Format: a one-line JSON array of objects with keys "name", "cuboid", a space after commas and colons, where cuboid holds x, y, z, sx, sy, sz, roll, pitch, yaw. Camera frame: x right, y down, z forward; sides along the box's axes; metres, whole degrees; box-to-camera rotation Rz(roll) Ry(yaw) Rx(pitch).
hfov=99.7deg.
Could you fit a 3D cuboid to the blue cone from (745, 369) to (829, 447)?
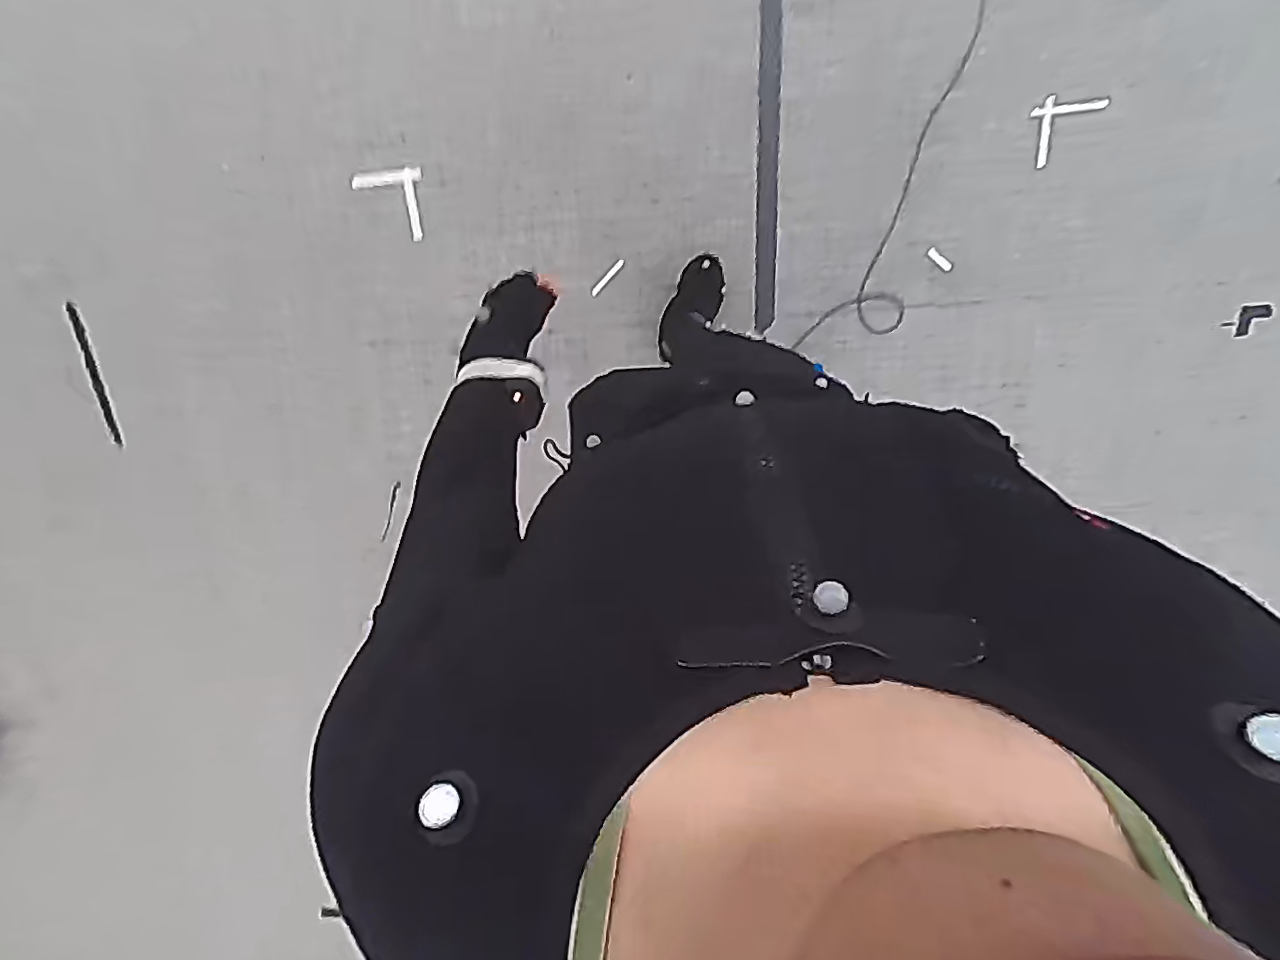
[{"name": "blue cone", "cuboid": [0.355, -0.140, 1.214, 0.193, 0.380, 0.192, -3, 105, 4]}]
